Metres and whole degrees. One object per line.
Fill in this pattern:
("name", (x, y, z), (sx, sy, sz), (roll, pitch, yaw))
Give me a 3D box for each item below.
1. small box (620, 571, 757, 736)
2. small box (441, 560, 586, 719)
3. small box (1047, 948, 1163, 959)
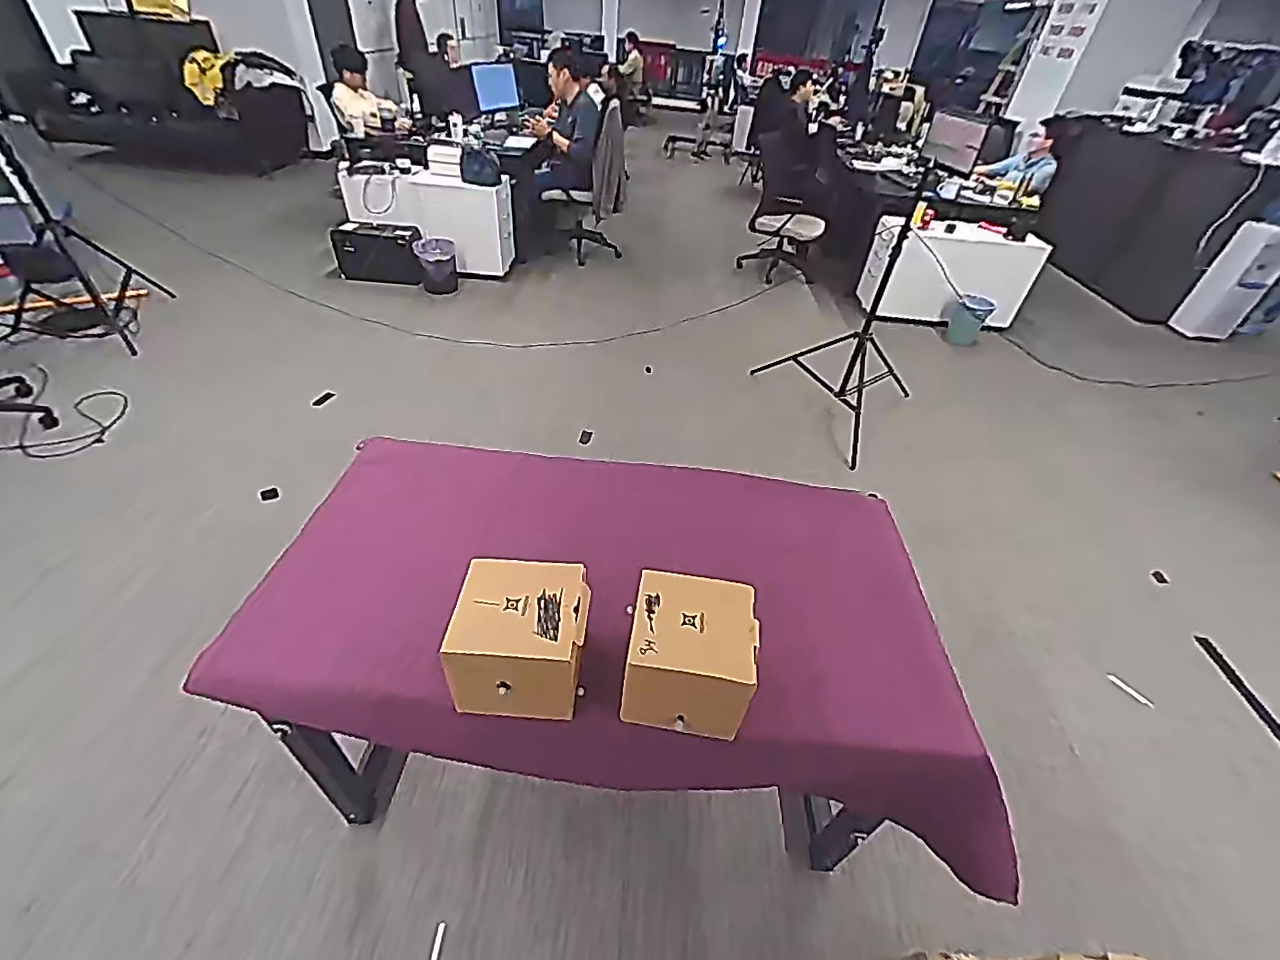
("small box", (0.072, 0.267, 0.827), (0.179, 0.176, 0.168), (9, 40, 3))
("small box", (-0.178, 0.244, 0.822), (0.179, 0.176, 0.168), (4, 39, 0))
("small box", (0.536, 0.649, 0.592), (0.168, 0.176, 0.179), (5, 42, 2))
